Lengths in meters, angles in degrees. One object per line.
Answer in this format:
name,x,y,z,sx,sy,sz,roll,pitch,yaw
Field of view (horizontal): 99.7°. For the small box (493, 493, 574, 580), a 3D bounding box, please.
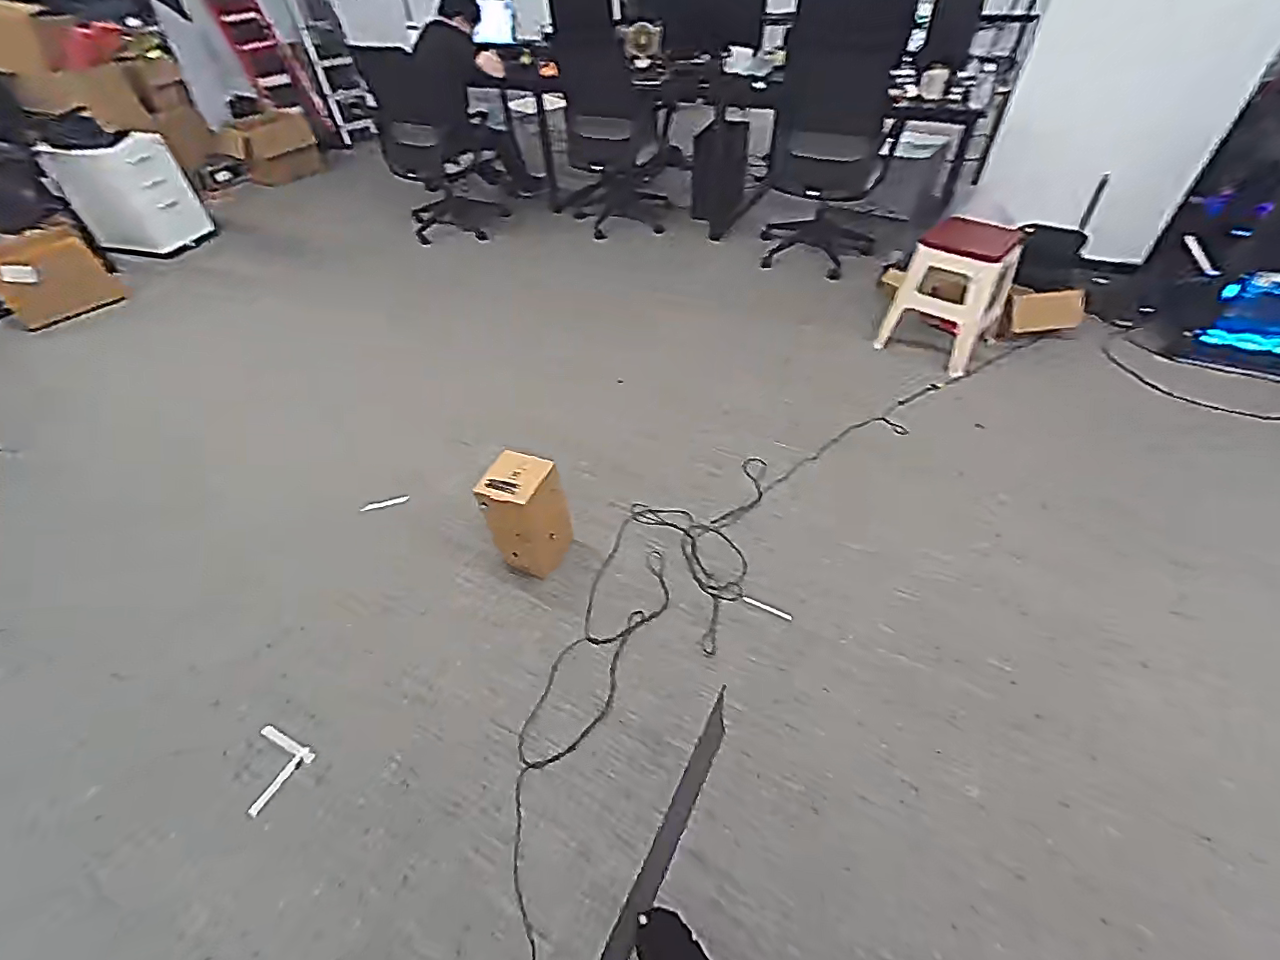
small box,-0.316,0.176,1.657,0.168,0.176,0.179,18,50,21
